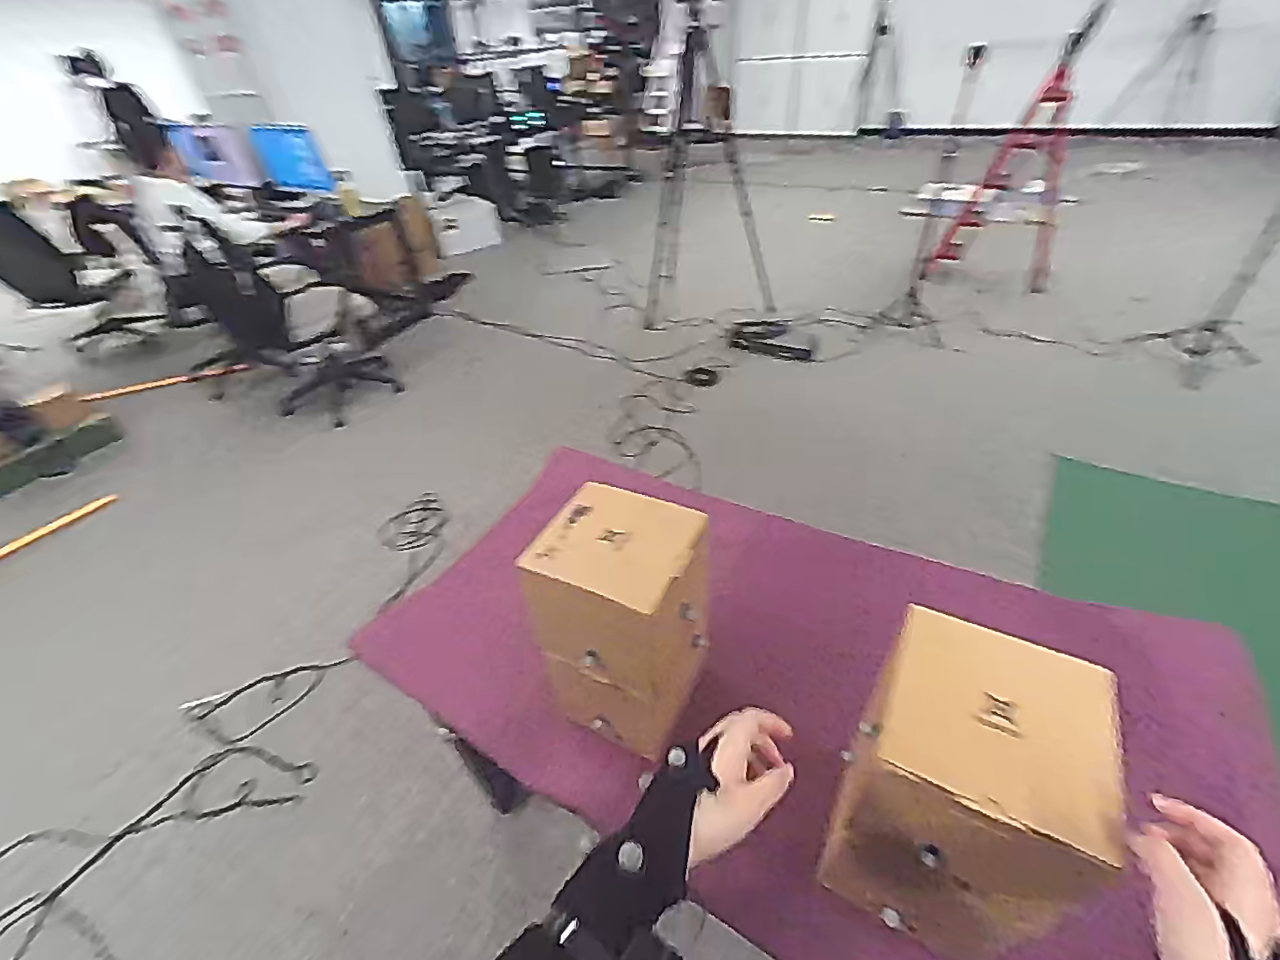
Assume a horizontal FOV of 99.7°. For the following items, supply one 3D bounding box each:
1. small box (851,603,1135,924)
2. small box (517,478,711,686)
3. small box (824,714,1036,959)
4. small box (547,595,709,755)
[{"bbox_3d":[0.308,0.254,0.500,0.168,0.176,0.179,17,45,25],"label":"small box"},{"bbox_3d":[-0.023,0.129,0.682,0.179,0.176,0.168,17,43,23],"label":"small box"},{"bbox_3d":[0.316,0.381,0.602,0.168,0.176,0.179,17,46,25],"label":"small box"},{"bbox_3d":[-0.010,0.254,0.787,0.168,0.176,0.179,16,44,24],"label":"small box"}]
